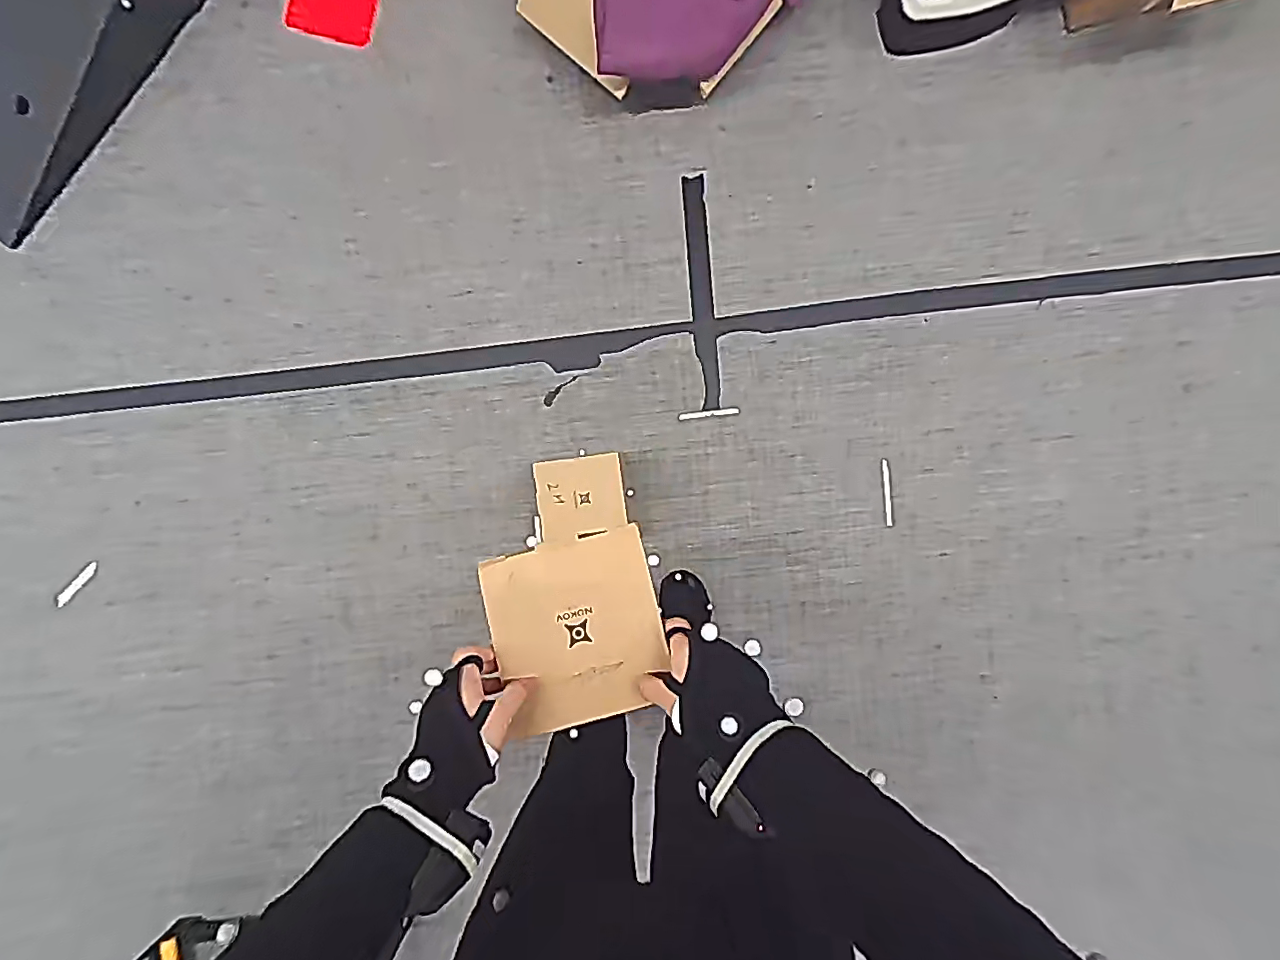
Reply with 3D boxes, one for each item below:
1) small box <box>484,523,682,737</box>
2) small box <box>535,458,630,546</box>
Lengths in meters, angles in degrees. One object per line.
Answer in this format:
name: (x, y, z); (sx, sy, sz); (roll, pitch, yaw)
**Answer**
small box: (-0.060, 0.156, 0.614); (0.168, 0.176, 0.179); (-15, 85, -3)
small box: (-0.114, 0.041, 1.156); (0.179, 0.176, 0.168); (-7, 91, 2)
